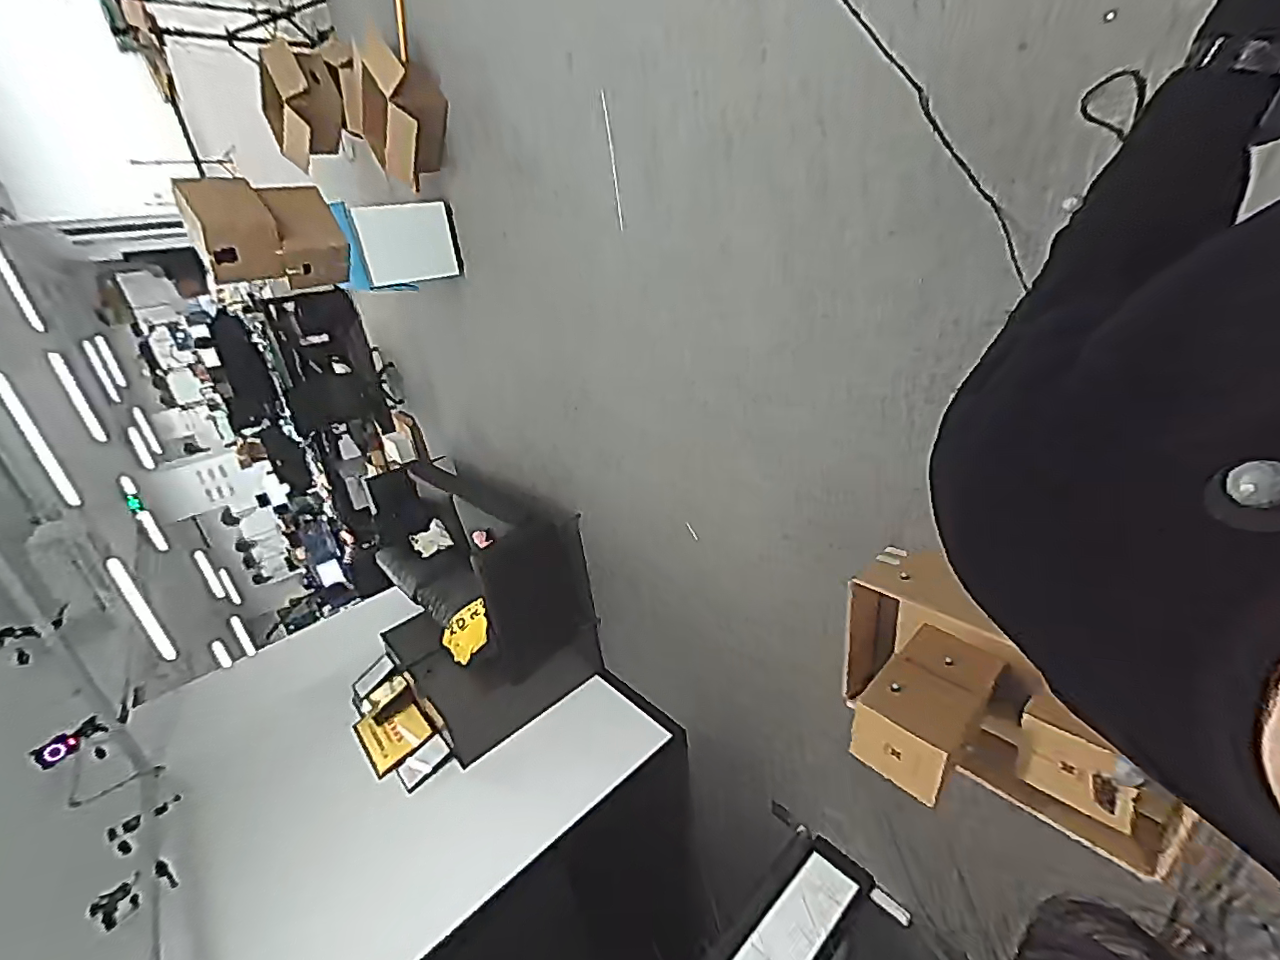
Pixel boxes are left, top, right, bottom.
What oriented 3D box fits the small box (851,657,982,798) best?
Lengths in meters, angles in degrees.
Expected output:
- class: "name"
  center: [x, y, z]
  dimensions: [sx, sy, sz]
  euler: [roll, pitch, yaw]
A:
- class: "small box"
  center: [0.569, 0.497, 1.119]
  dimensions: [0.179, 0.176, 0.168]
  euler: [24, 130, 42]
